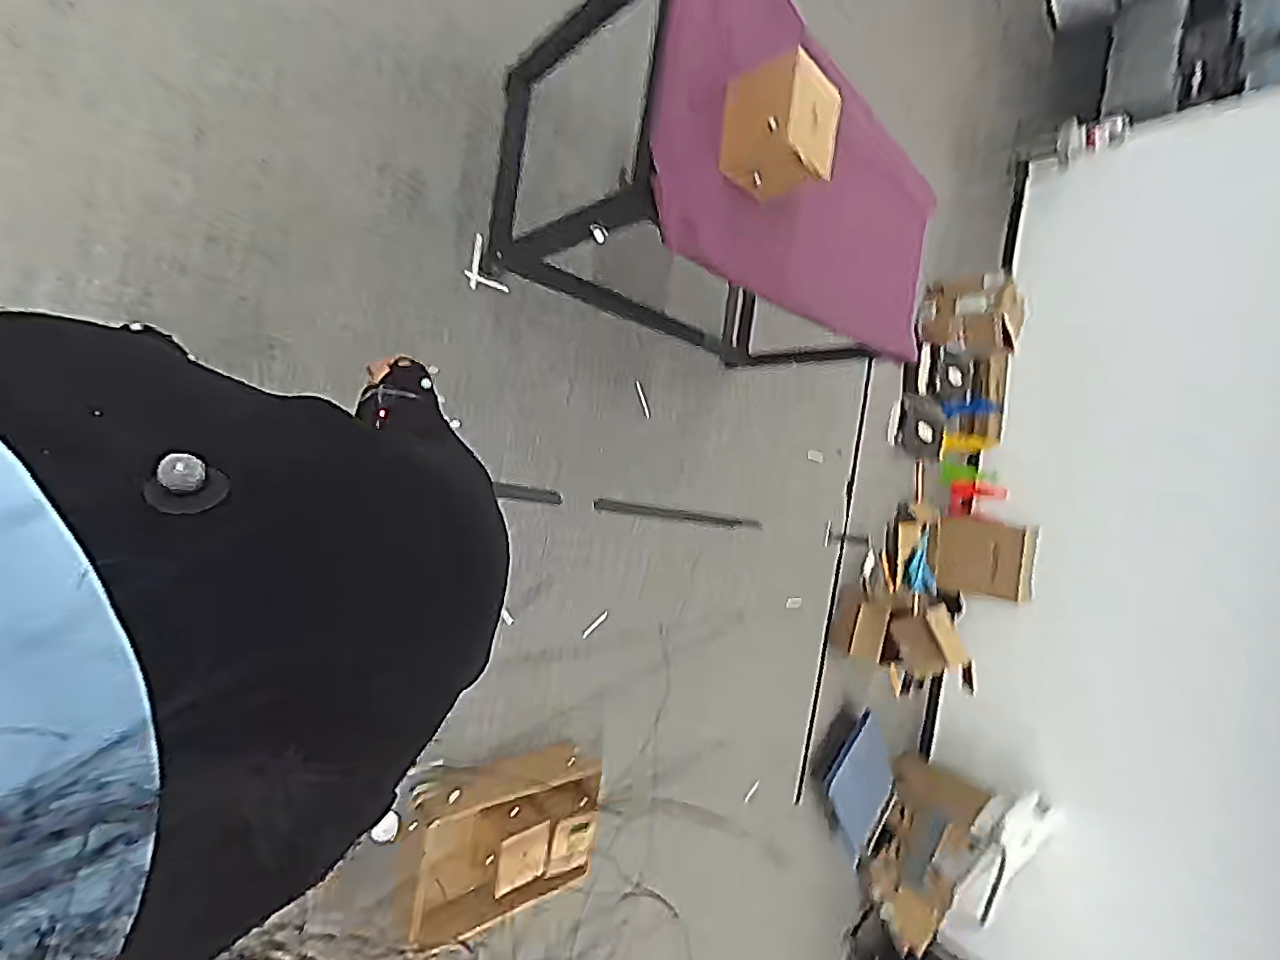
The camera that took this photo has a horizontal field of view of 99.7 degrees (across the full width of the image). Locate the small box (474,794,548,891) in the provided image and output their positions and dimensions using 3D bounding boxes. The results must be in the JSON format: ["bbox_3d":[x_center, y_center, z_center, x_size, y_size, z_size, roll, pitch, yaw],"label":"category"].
[{"bbox_3d":[-0.412,1.130,1.712,0.168,0.176,0.179,2,95,-42],"label":"small box"}]

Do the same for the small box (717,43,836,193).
[{"bbox_3d":[0.278,-0.729,1.113,0.168,0.176,0.179,4,95,-44],"label":"small box"}]
